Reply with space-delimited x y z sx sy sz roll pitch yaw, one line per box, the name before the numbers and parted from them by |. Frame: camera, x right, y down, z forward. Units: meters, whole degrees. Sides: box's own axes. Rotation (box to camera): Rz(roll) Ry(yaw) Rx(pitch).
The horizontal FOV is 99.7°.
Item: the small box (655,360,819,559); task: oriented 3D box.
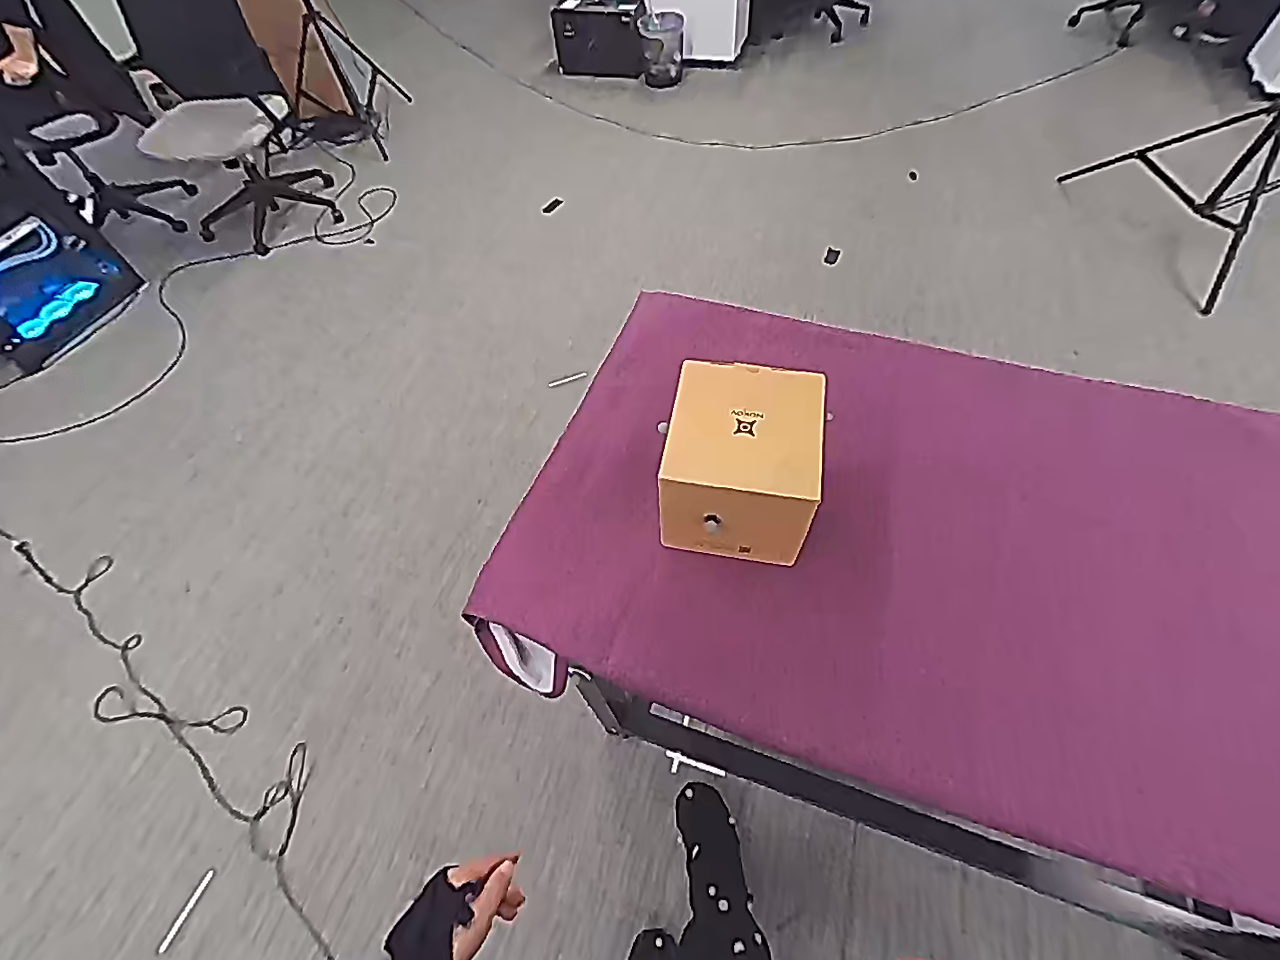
small box | 0.118 -0.021 0.662 0.168 0.176 0.179 7 57 9
